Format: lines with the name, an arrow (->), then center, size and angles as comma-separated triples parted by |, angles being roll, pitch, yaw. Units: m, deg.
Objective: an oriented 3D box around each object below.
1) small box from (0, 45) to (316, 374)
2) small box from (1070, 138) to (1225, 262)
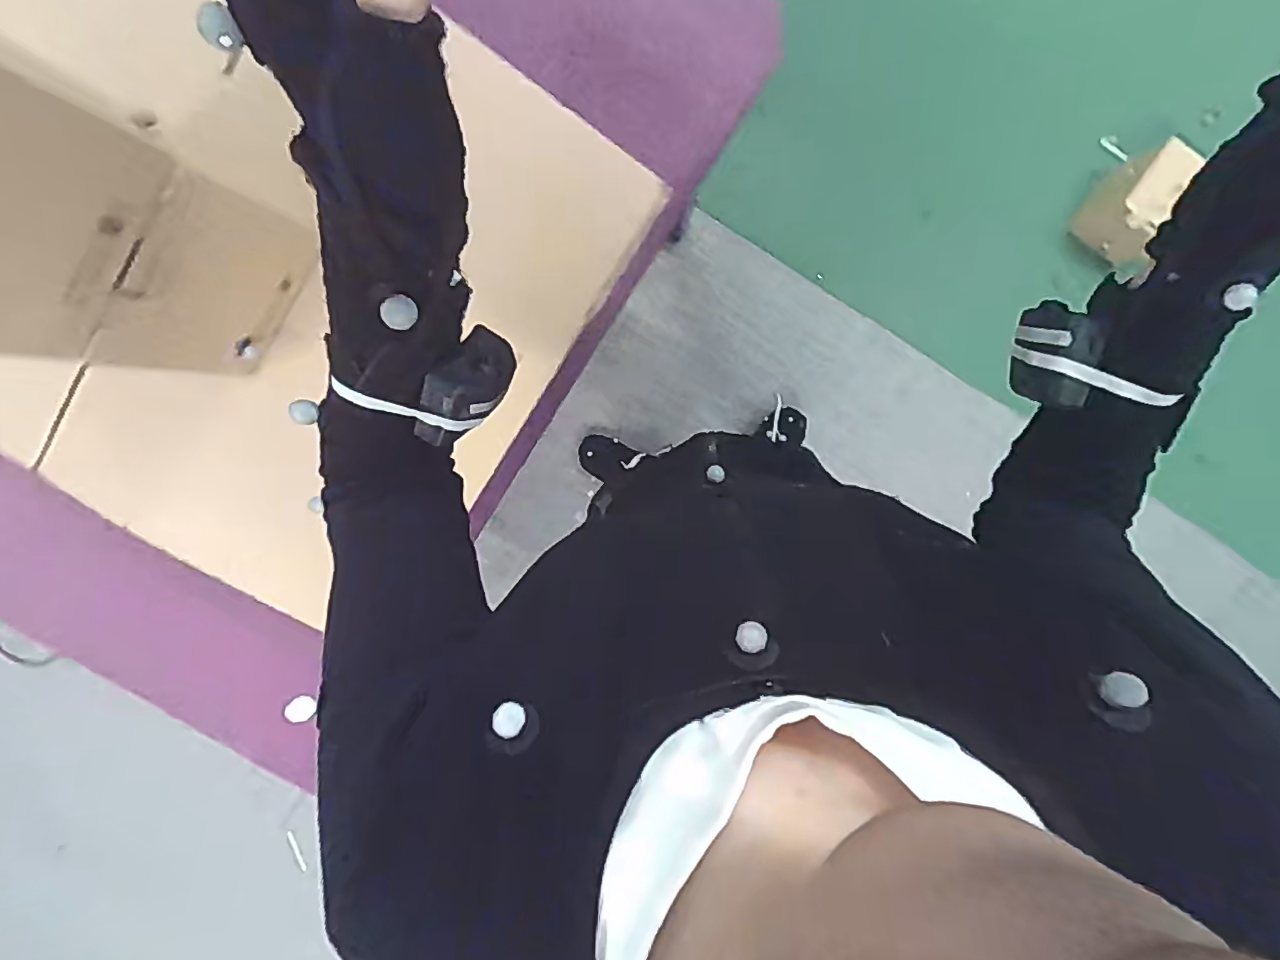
small box -> -0.424, -0.204, 0.457 | 0.179, 0.176, 0.168 | 34, 97, -2
small box -> 1.194, -0.656, 1.289 | 0.168, 0.176, 0.179 | 33, 97, -4
